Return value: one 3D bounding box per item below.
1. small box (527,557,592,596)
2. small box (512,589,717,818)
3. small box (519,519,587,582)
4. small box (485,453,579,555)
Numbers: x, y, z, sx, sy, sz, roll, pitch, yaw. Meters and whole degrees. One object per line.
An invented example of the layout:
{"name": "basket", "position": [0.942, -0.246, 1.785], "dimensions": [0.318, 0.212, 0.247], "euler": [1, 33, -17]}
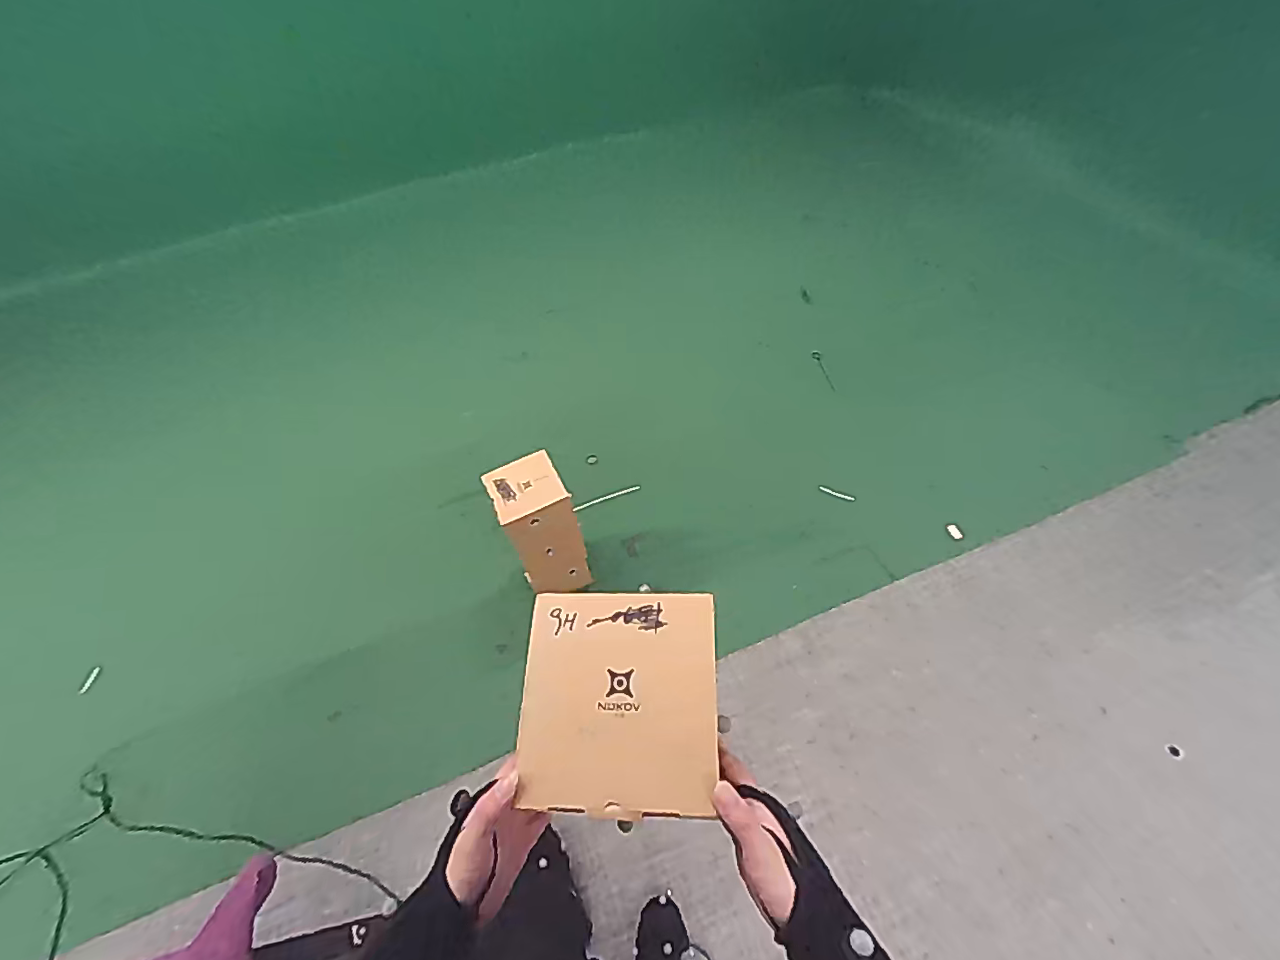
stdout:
{"name": "small box", "position": [-0.255, 0.256, 1.668], "dimensions": [0.179, 0.176, 0.168], "euler": [-21, 57, -9]}
{"name": "small box", "position": [-0.009, 0.215, 0.526], "dimensions": [0.168, 0.176, 0.179], "euler": [-1, 62, 6]}
{"name": "small box", "position": [-0.260, 0.160, 1.537], "dimensions": [0.179, 0.176, 0.168], "euler": [-24, 58, -10]}
{"name": "small box", "position": [-0.275, 0.068, 1.402], "dimensions": [0.179, 0.176, 0.168], "euler": [-24, 58, -12]}
